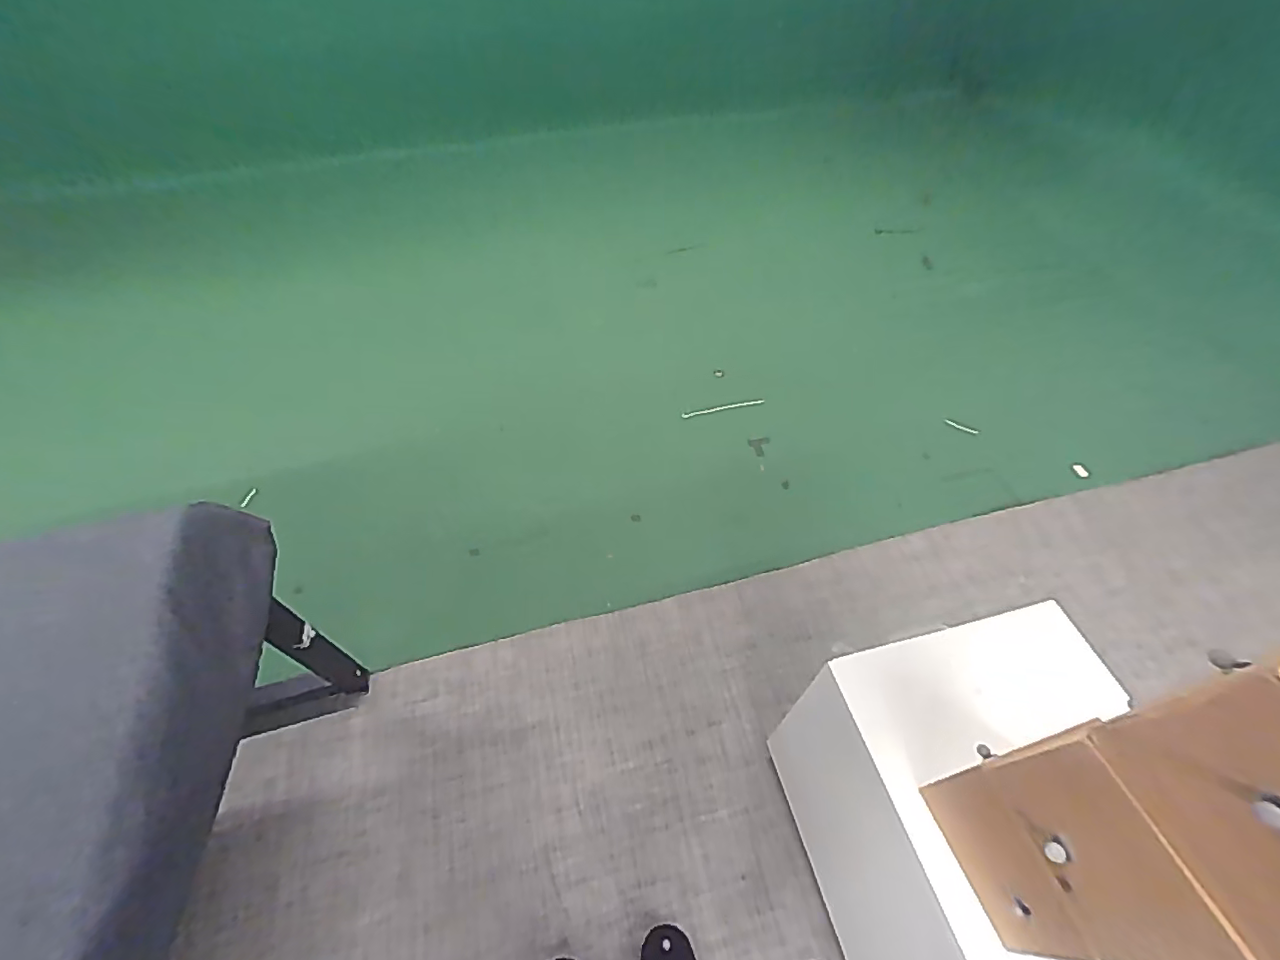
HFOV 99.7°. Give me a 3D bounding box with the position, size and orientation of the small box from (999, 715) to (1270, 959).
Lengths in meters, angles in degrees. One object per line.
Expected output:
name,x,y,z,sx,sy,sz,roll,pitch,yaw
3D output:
small box,0.471,0.300,0.471,0.179,0.176,0.168,-15,54,-13

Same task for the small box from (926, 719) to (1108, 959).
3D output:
small box,0.465,0.399,0.603,0.168,0.176,0.179,-15,52,-11

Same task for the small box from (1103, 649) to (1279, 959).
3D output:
small box,0.466,0.200,0.342,0.168,0.176,0.179,-16,53,-10
